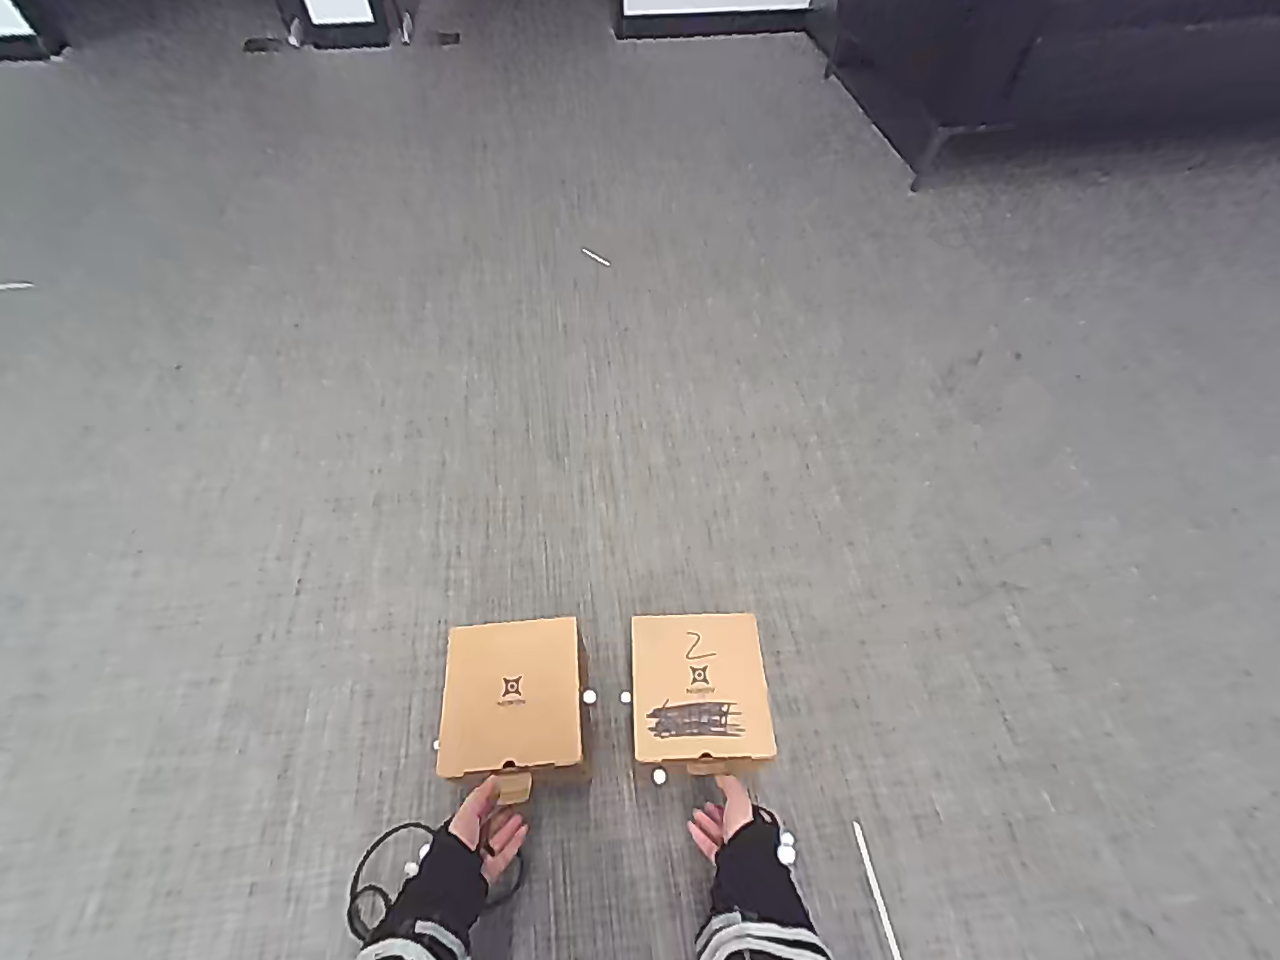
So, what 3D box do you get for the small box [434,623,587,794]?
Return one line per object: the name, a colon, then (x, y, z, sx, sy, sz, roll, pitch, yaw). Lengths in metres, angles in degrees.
small box: (-0.160, 0.309, 0.727, 0.168, 0.176, 0.179, -4, 57, -3)
